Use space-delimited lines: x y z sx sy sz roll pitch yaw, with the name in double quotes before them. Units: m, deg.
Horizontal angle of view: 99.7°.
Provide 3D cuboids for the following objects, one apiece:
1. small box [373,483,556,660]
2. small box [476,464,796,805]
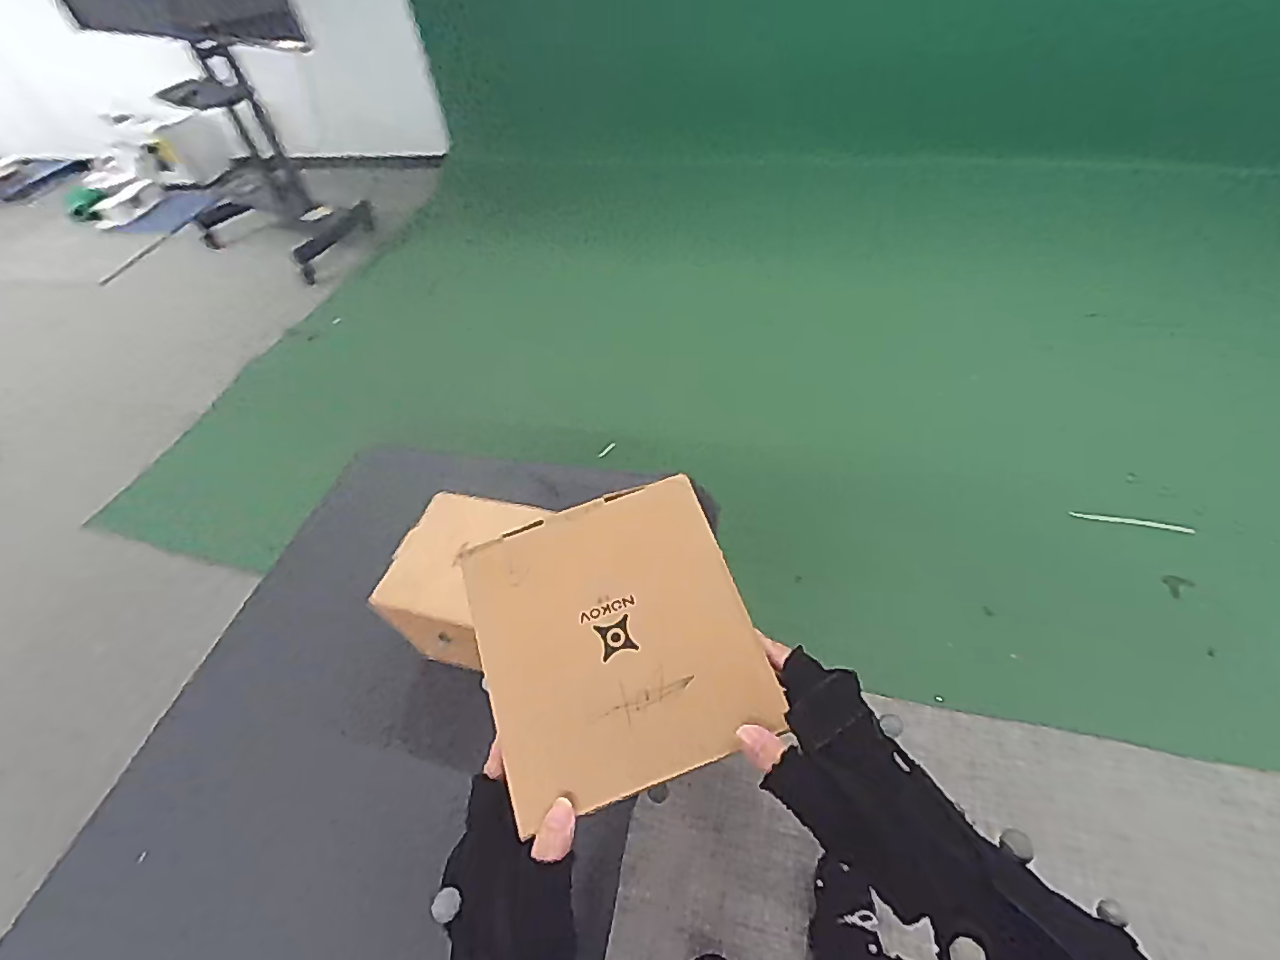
"small box" -0.201 0.127 0.716 0.179 0.176 0.168 9 54 14
"small box" -0.007 0.118 0.414 0.168 0.176 0.179 -18 66 -4
